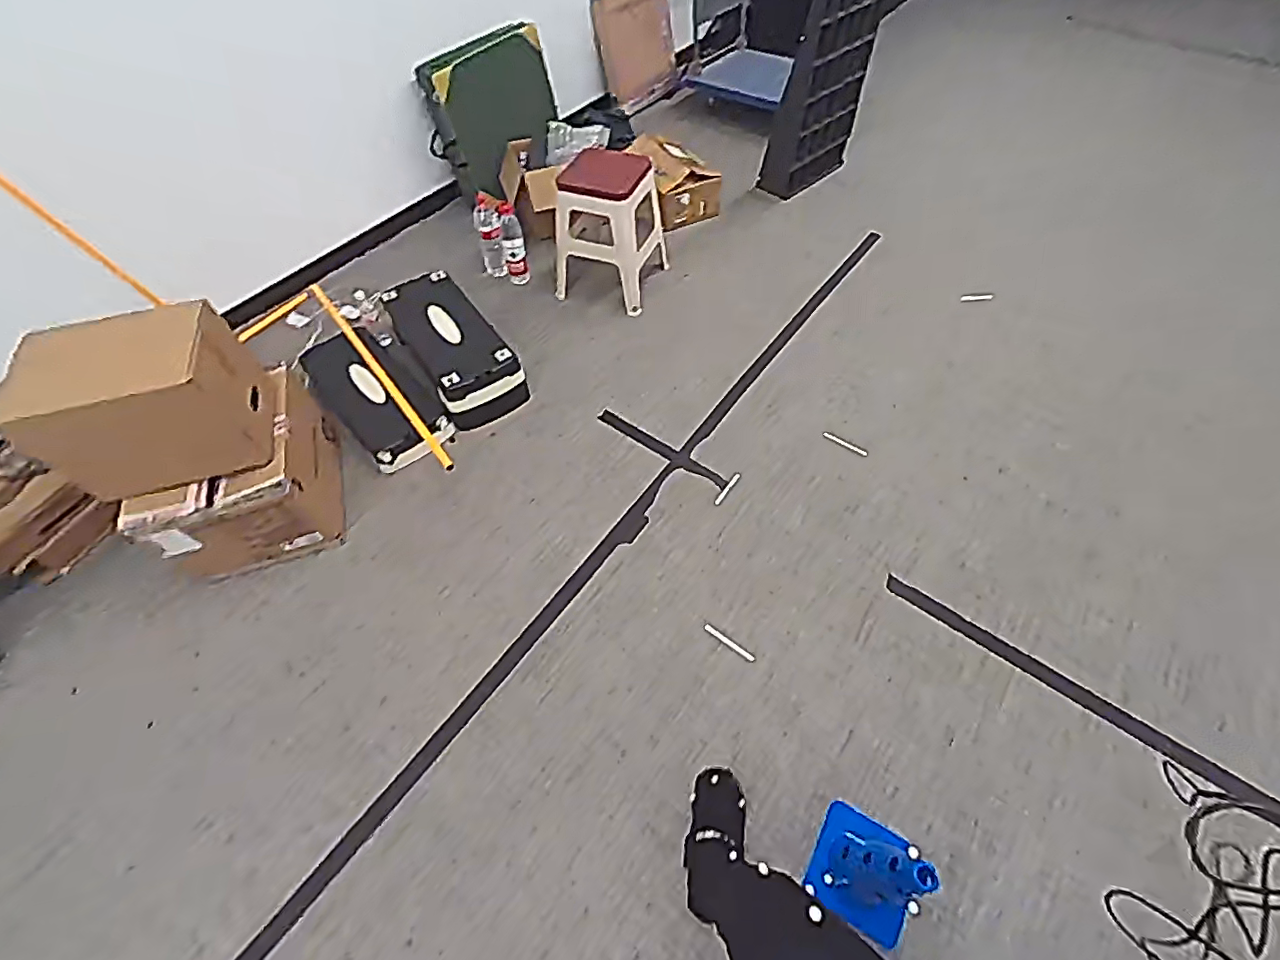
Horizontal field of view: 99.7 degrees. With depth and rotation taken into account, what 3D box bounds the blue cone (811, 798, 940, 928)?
[{"bbox_3d":[0.467,0.714,1.013,0.193,0.380,0.192,26,60,20],"label":"blue cone"}]
